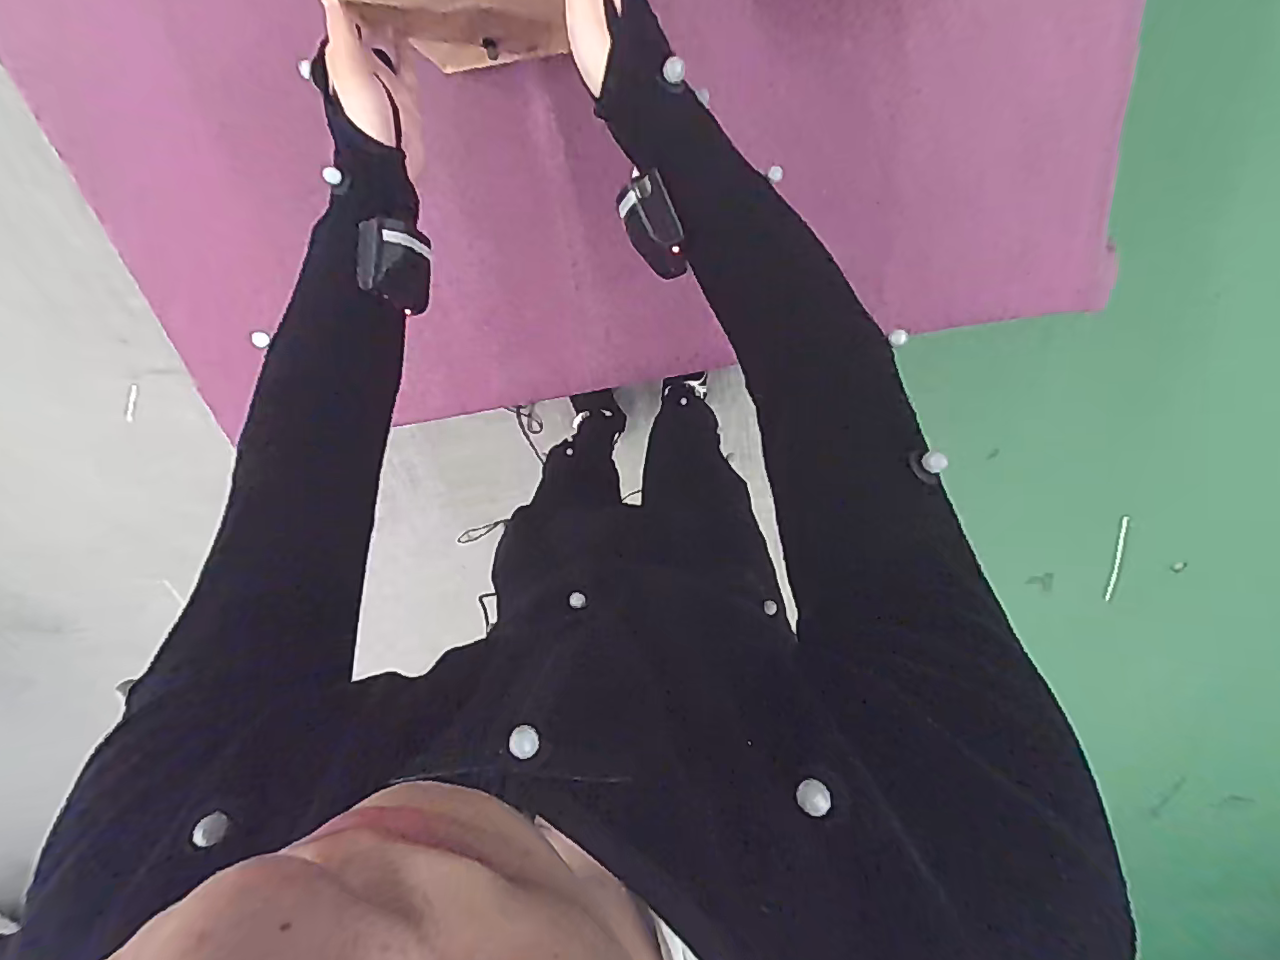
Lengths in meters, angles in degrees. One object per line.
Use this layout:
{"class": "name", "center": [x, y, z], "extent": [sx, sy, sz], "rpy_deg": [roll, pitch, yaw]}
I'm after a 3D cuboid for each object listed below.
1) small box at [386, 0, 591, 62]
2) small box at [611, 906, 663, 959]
{"class": "small box", "center": [-0.137, -0.493, 0.457], "extent": [0.168, 0.176, 0.179], "rpy_deg": [-7, 115, 2]}
{"class": "small box", "center": [-0.005, 1.669, 1.939], "extent": [0.168, 0.176, 0.179], "rpy_deg": [-4, 117, 5]}
